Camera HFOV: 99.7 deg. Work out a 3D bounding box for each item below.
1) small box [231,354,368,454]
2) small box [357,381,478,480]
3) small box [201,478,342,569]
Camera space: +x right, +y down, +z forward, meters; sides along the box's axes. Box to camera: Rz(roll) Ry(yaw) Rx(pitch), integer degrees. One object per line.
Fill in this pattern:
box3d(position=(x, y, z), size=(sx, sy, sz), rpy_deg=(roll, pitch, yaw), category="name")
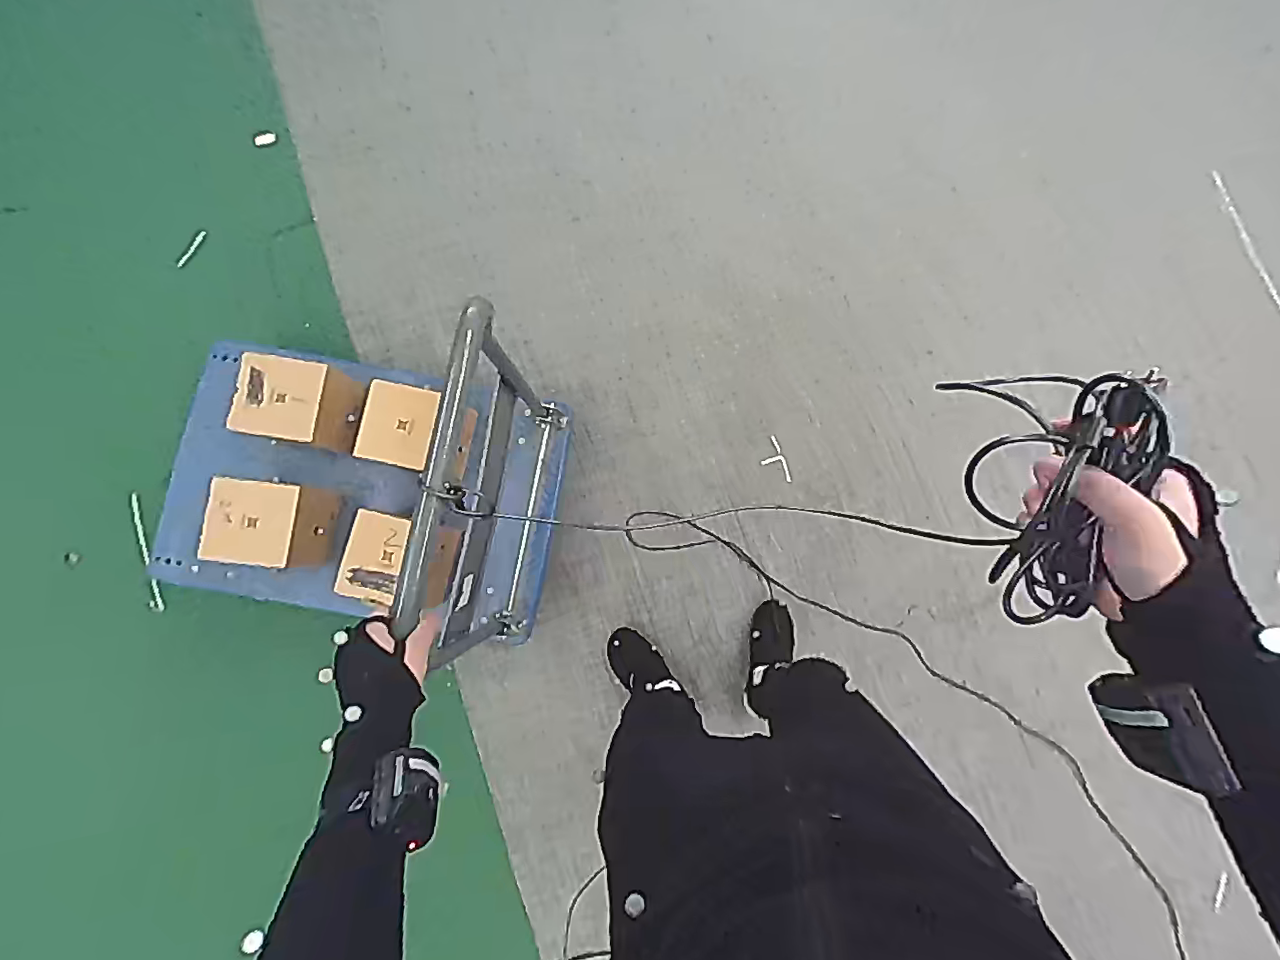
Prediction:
box3d(position=(-0.733, -0.159, 1.183), size=(0.179, 0.176, 0.168), rpy_deg=(9, 84, -1), category="small box")
box3d(position=(-0.477, -0.100, 1.184), size=(0.179, 0.176, 0.168), rpy_deg=(12, 84, -1), category="small box")
box3d(position=(-0.772, 0.094, 1.154), size=(0.179, 0.176, 0.168), rpy_deg=(7, 83, -1), category="small box")
